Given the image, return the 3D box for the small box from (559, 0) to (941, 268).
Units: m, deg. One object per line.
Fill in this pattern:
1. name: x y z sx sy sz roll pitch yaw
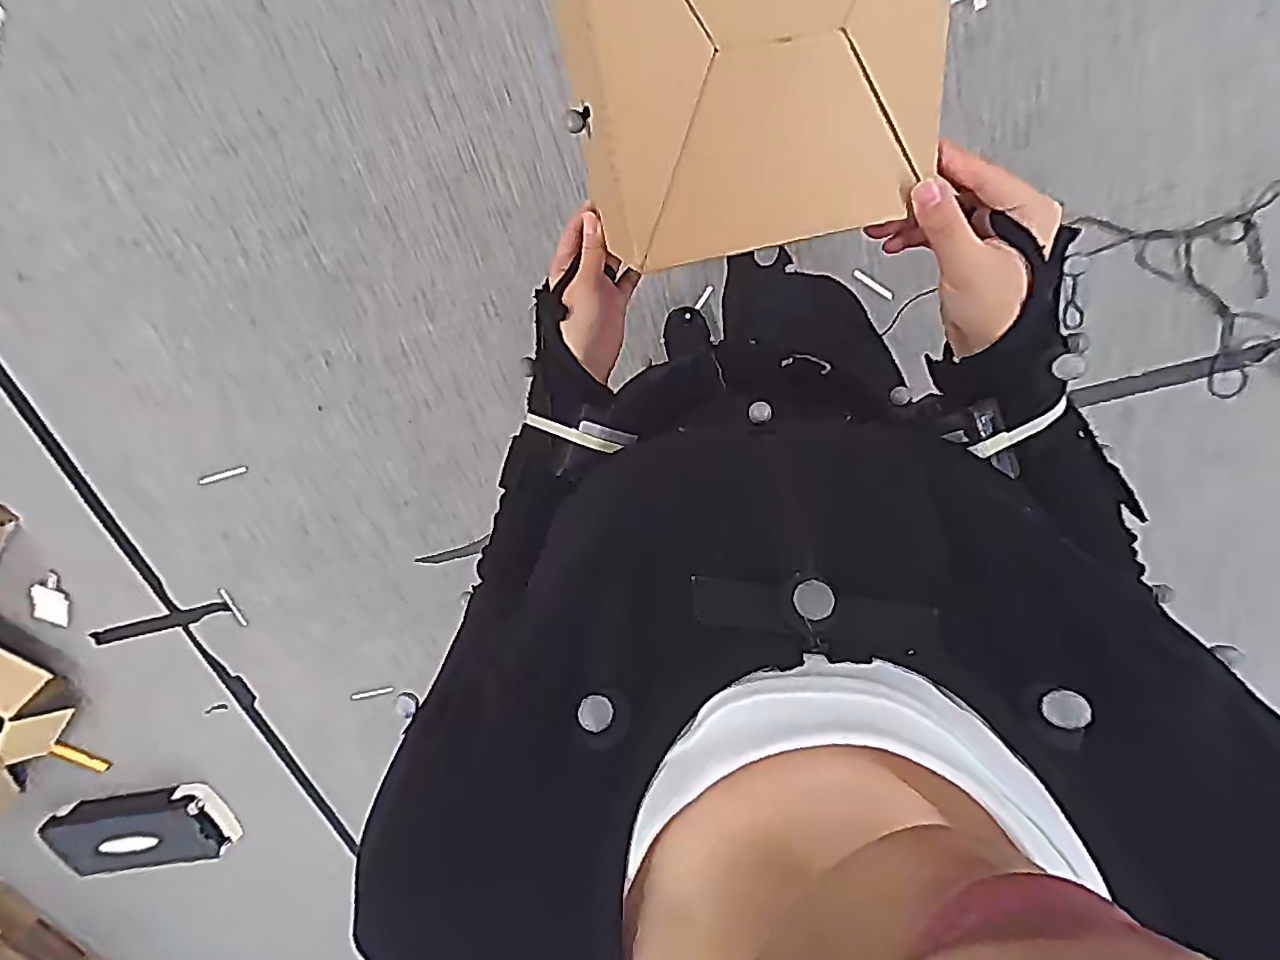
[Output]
1. small box: 0.053 -0.239 0.319 0.168 0.176 0.179 -14 118 -4
